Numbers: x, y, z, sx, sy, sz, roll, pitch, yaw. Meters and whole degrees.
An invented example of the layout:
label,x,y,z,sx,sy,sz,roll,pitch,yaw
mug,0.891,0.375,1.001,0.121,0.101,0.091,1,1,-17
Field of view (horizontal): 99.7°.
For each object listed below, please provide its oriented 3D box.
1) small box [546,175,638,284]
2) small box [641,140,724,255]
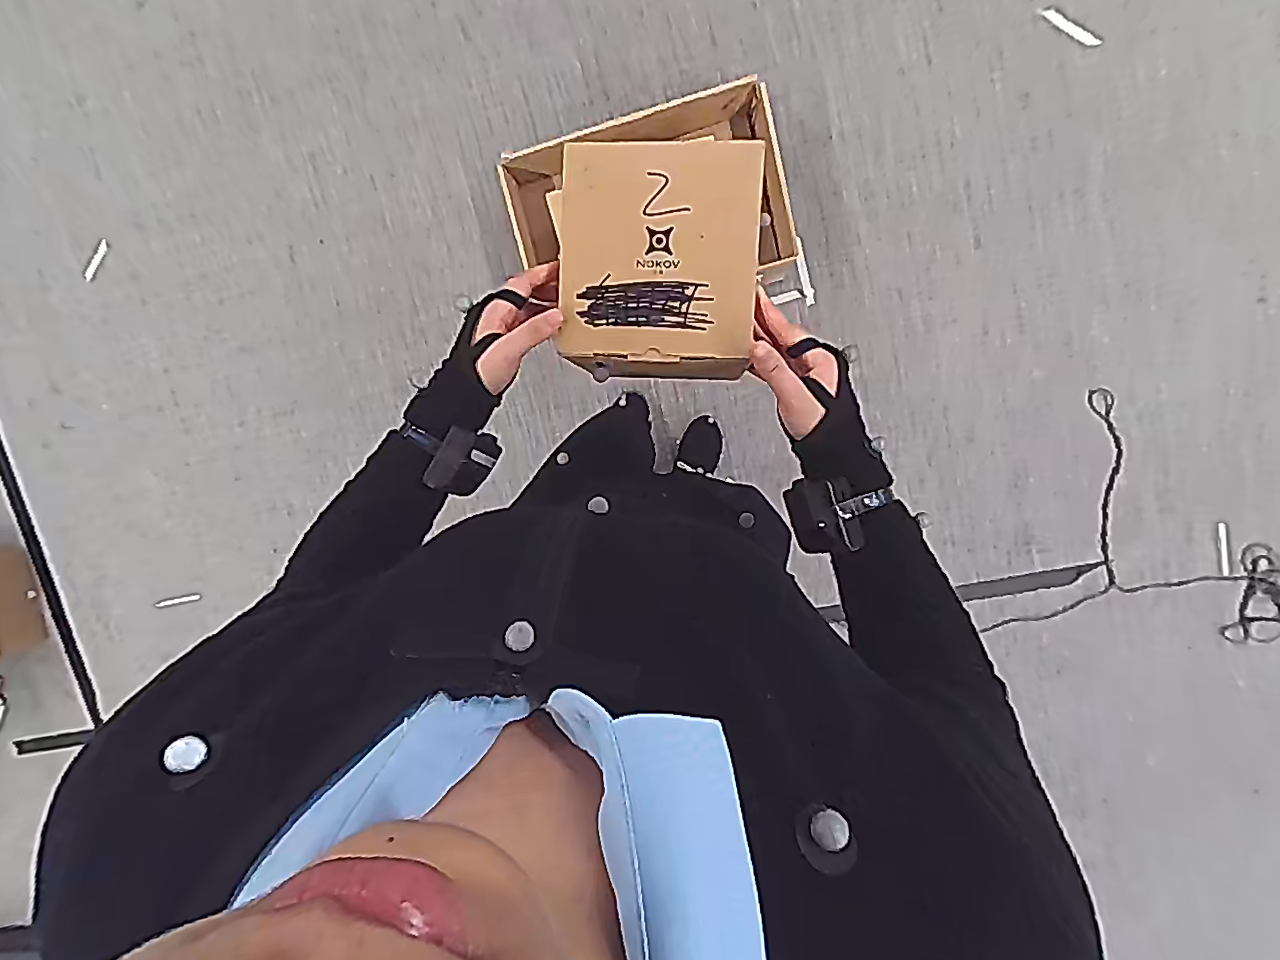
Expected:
label,x,y,z,sx,sy,sz,roll,pitch,yaw
small box,-0.106,-0.582,1.288,0.168,0.176,0.179,-15,96,5
small box,0.099,-0.651,1.264,0.168,0.176,0.179,-8,97,6
